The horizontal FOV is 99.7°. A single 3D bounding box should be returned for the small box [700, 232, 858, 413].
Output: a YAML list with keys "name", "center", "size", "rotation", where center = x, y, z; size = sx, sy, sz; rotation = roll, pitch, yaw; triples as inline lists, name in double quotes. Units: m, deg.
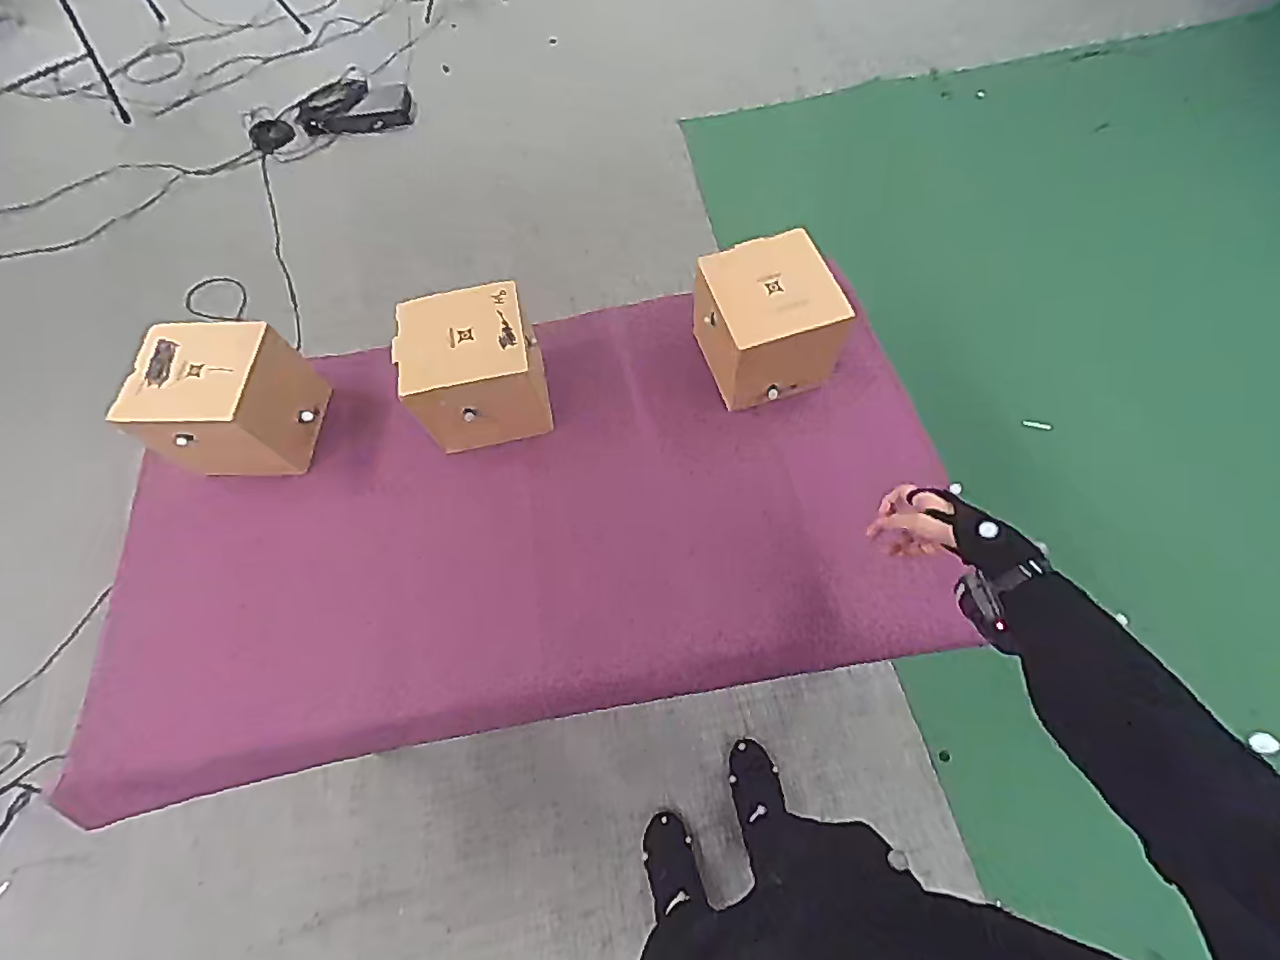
- name: "small box"
  center: [0.193, -0.230, 0.813]
  size: [0.168, 0.176, 0.179]
  rotation: [-16, 66, -2]

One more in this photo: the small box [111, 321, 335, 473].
- name: "small box"
  center: [-0.603, -0.117, 0.810]
  size: [0.179, 0.176, 0.168]
  rotation: [0, 66, 3]

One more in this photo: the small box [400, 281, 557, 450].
- name: "small box"
  center: [-0.235, -0.161, 0.809]
  size: [0.179, 0.176, 0.168]
  rotation: [-12, 66, -1]
